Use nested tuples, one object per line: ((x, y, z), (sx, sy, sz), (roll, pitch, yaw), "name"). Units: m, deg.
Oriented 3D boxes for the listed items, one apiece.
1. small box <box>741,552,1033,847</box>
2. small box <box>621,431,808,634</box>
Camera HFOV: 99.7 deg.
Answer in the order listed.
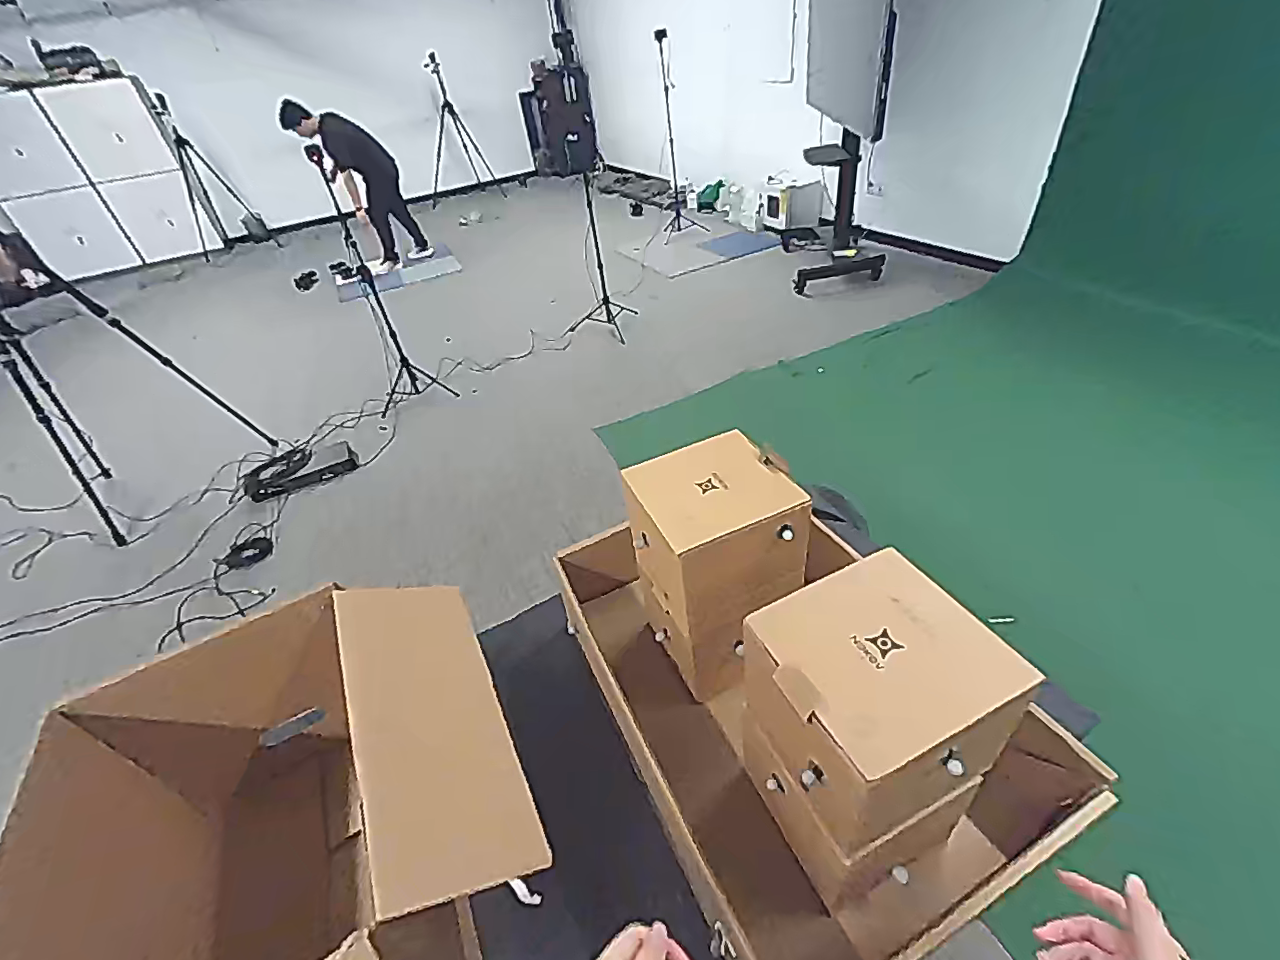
((0.215, 0.207, 0.517), (0.179, 0.176, 0.168), (-21, 42, -14), "small box")
((0.094, 0.069, 0.704), (0.179, 0.176, 0.168), (-20, 42, -14), "small box")
